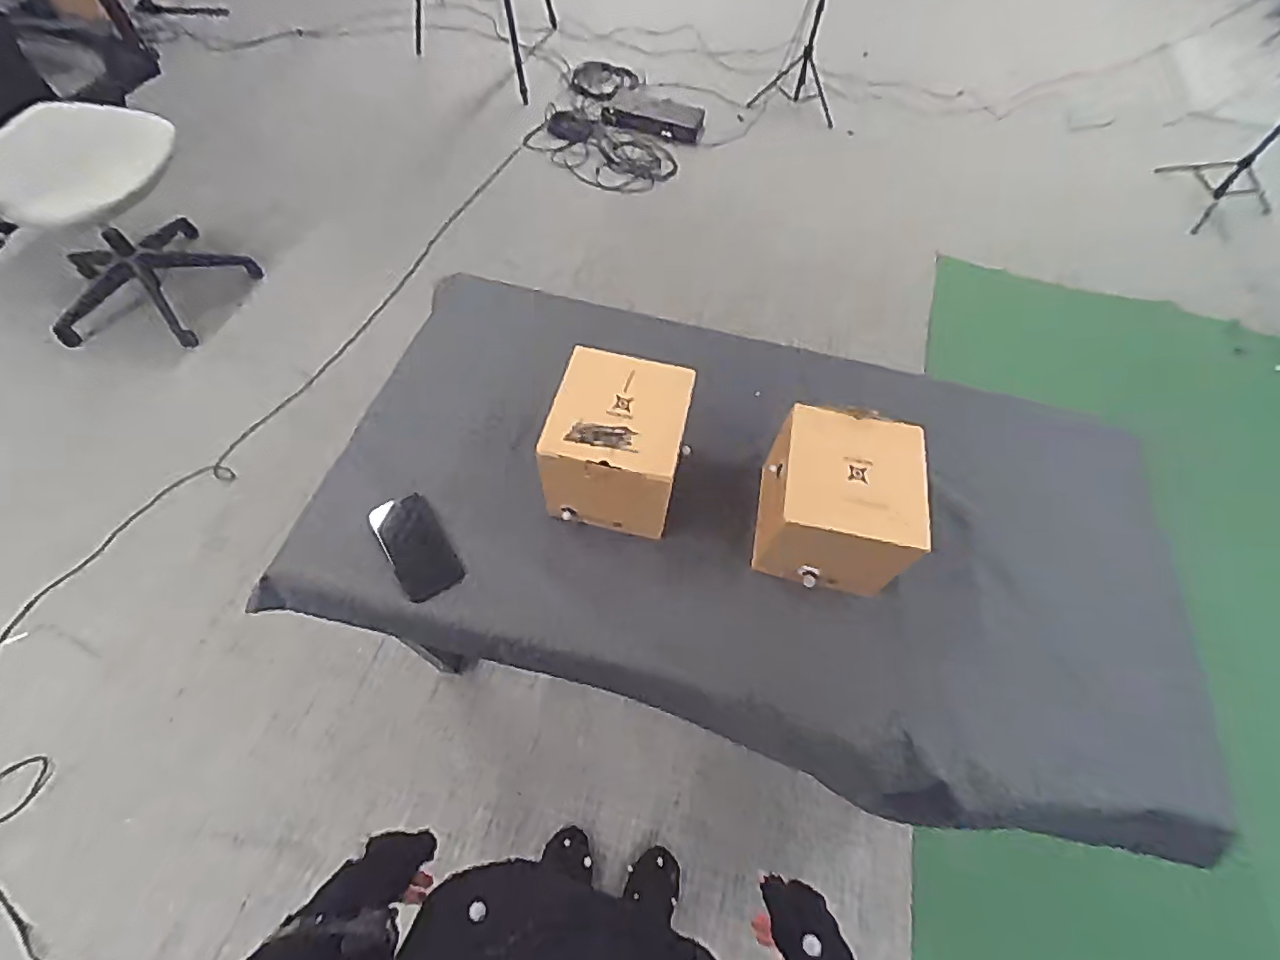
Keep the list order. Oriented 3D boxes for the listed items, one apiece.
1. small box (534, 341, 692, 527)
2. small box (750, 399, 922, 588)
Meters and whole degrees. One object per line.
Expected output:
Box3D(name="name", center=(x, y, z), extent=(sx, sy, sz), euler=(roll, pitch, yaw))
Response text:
Box3D(name="small box", center=(-0.033, -0.056, 0.744), extent=(0.168, 0.176, 0.179), euler=(13, 59, 3))
Box3D(name="small box", center=(0.251, 0.023, 0.723), extent=(0.168, 0.176, 0.179), euler=(11, 61, 4))
